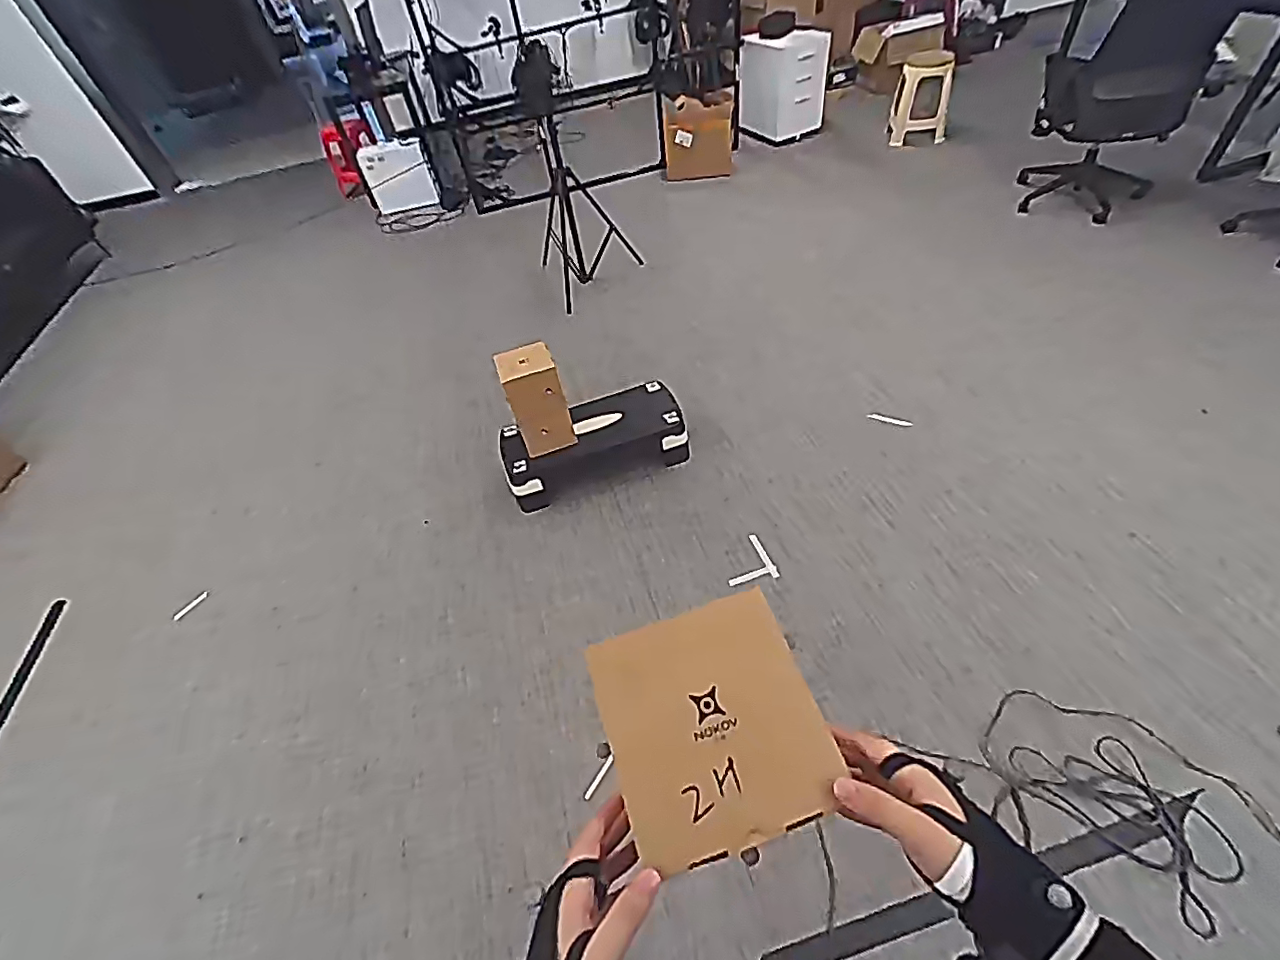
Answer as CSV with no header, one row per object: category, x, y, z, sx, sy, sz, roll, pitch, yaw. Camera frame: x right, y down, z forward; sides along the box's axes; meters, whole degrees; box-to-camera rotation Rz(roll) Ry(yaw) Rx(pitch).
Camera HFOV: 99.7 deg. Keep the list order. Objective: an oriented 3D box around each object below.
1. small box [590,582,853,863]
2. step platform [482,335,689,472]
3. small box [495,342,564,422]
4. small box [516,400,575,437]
small box,0.063,0.226,0.501,0.168,0.176,0.179,-18,57,-5
step platform,-0.180,-0.263,1.864,0.684,0.204,0.286,-18,48,-7
small box,-0.357,-0.320,1.774,0.179,0.176,0.168,-20,48,-8
small box,-0.336,-0.214,1.897,0.179,0.176,0.168,-20,49,-7
